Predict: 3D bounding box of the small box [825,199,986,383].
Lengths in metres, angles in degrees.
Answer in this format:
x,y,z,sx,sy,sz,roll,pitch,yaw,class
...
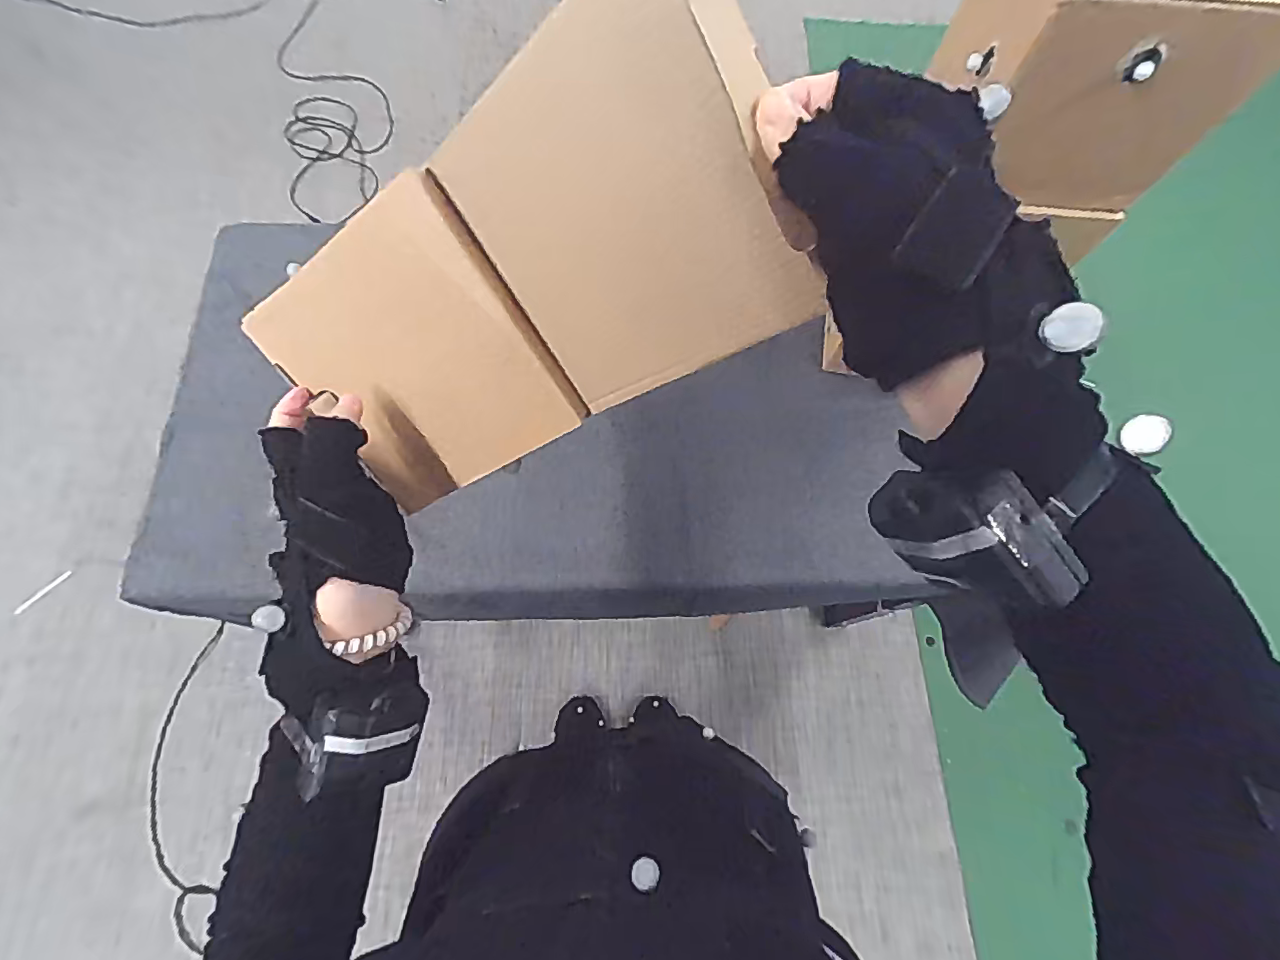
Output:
x,y,z,sx,sy,sz,roll,pitch,yaw,class
0.374,-0.256,0.761,0.179,0.176,0.168,11,70,2,small box

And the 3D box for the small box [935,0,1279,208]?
x,y,z,sx,sy,sz,roll,pitch,yaw,class
0.369,-0.357,0.450,0.179,0.176,0.168,7,70,1,small box

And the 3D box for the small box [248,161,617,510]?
x,y,z,sx,sy,sz,roll,pitch,yaw,class
-0.130,-0.111,0.417,0.179,0.176,0.168,-26,109,18,small box
